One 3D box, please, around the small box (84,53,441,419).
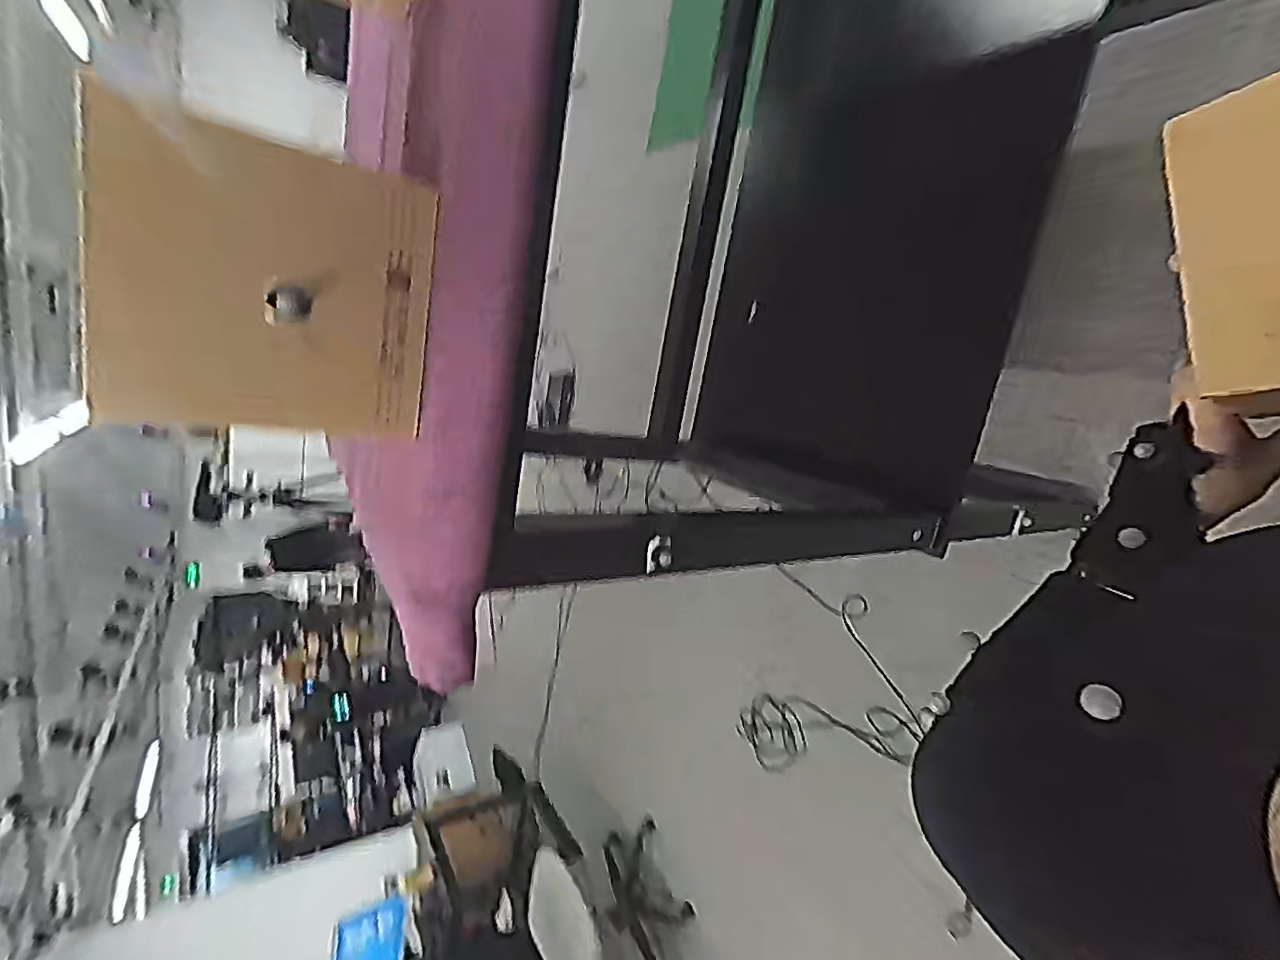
[{"bbox_3d":[-0.250,-0.140,0.378,0.179,0.176,0.168,22,105,52],"label":"small box"}]
